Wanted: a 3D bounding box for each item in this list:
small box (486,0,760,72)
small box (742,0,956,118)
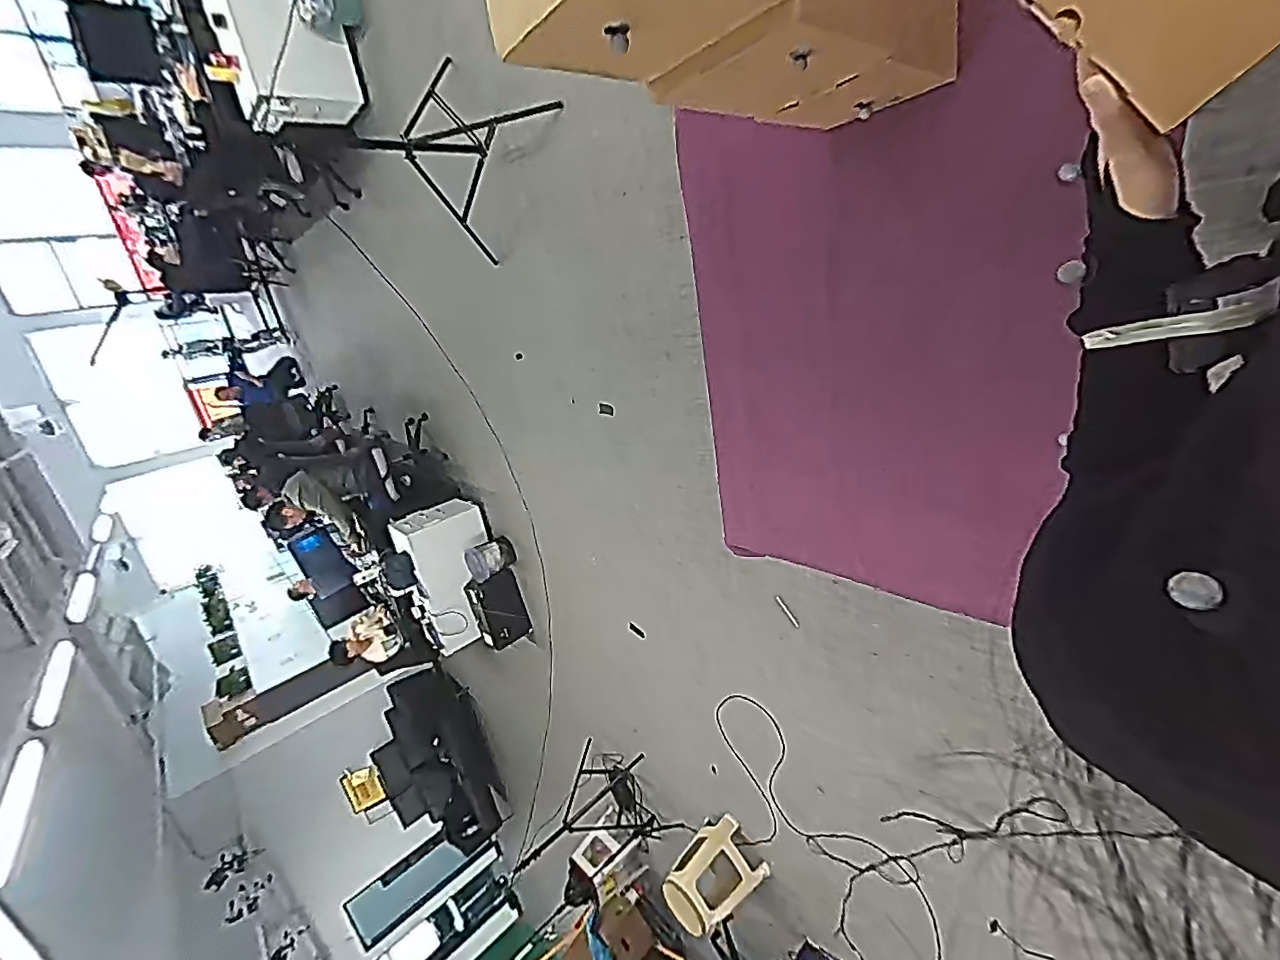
[{"bbox_3d":[-0.014,-0.435,0.399,0.179,0.176,0.168,11,119,48],"label":"small box"},{"bbox_3d":[0.230,-0.528,0.597,0.168,0.176,0.179,12,119,49],"label":"small box"}]
